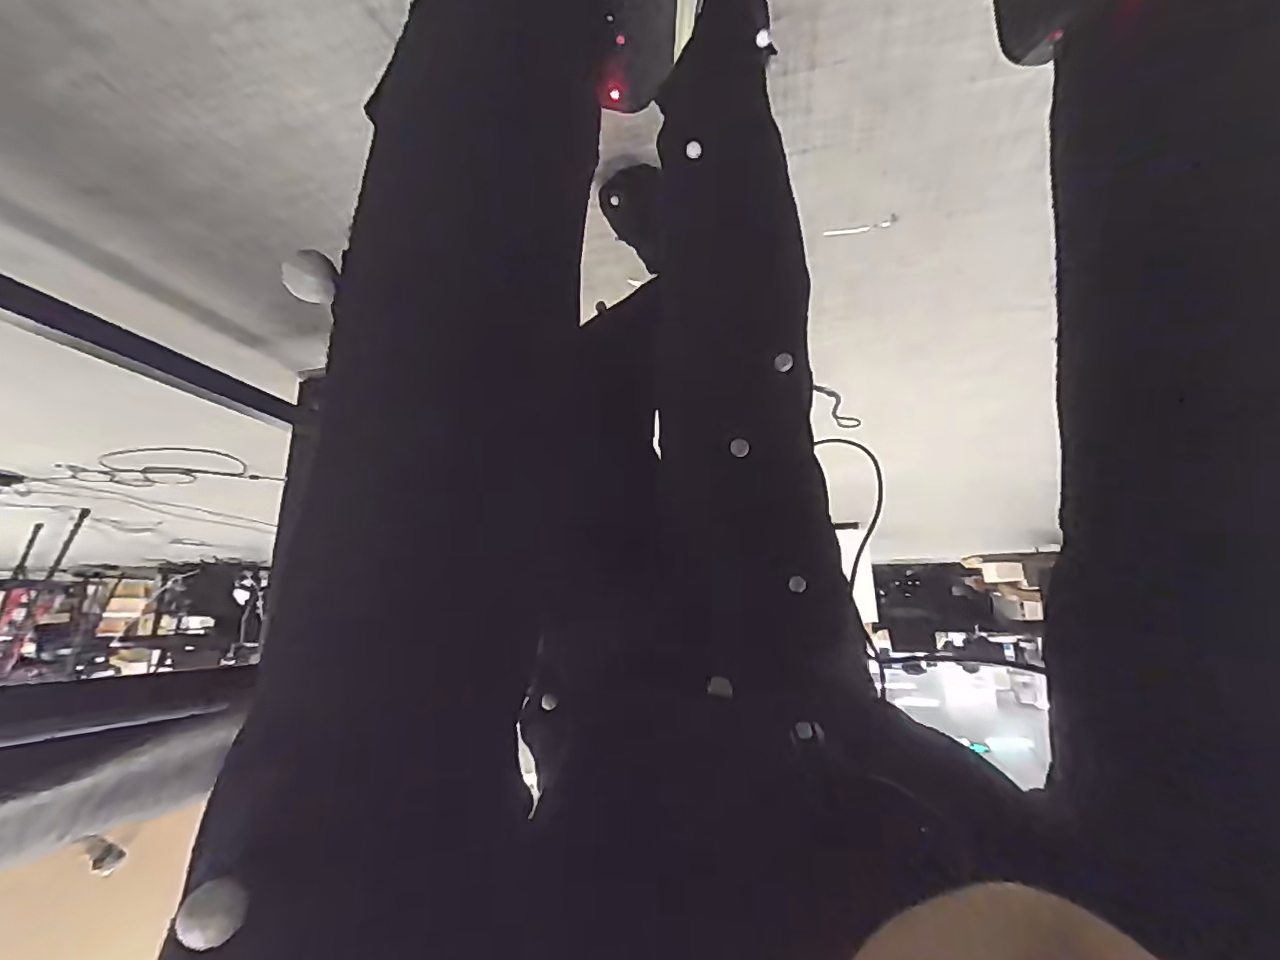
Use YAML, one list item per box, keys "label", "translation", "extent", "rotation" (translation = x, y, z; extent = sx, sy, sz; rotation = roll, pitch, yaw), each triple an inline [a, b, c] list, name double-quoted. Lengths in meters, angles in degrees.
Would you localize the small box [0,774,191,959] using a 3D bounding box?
- label: "small box"
  translation: [-0.548, 0.372, 0.477]
  extent: [0.179, 0.176, 0.168]
  rotation: [-4, 165, 15]
